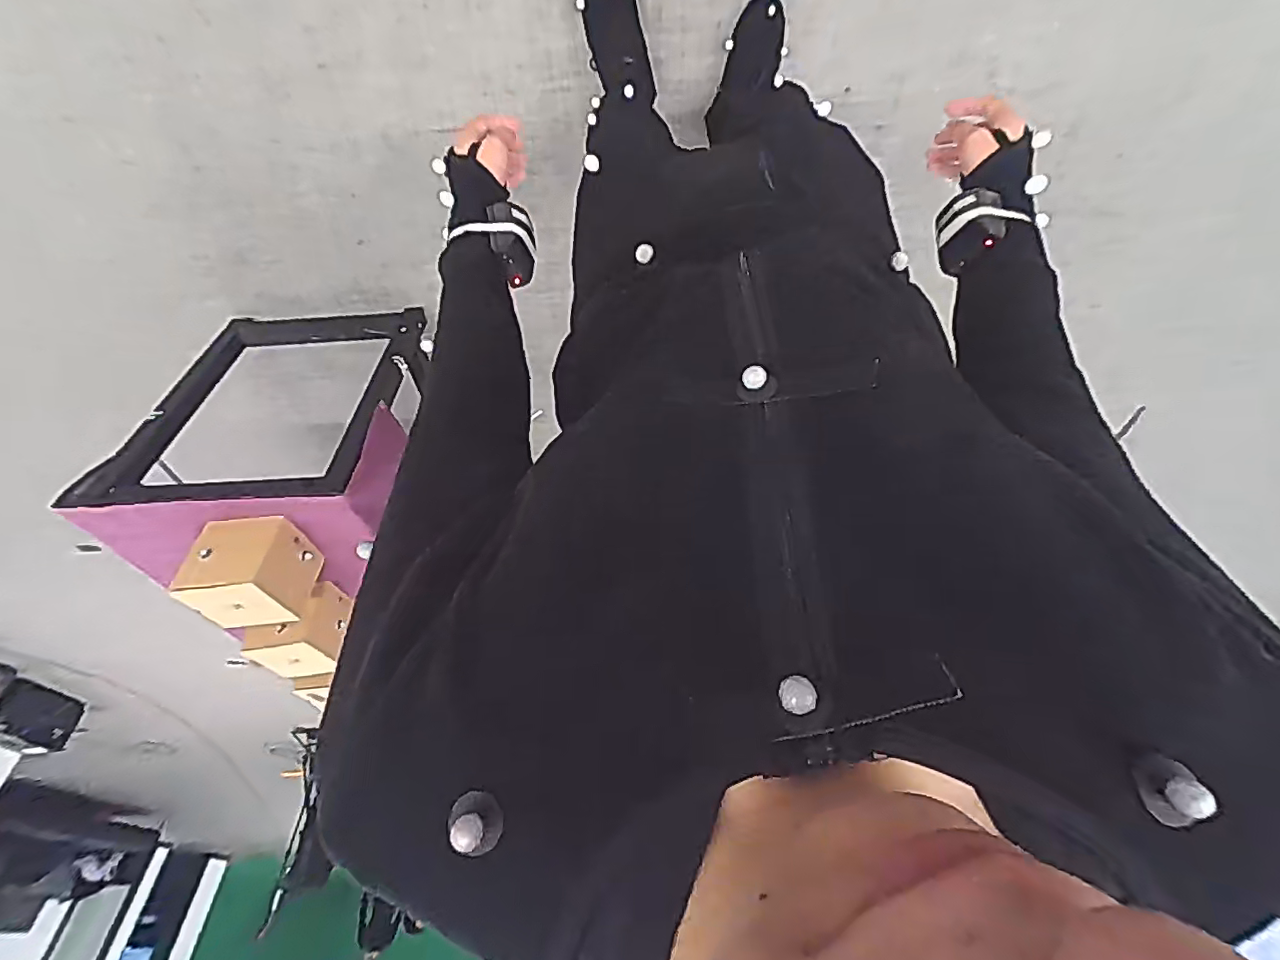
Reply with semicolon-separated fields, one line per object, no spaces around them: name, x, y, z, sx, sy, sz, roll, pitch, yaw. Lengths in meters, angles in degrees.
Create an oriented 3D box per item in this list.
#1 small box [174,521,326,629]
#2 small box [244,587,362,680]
small box;-0.824;0.204;1.165;0.179;0.176;0.168;-5;139;4
small box;-0.835;0.385;1.368;0.179;0.176;0.168;-9;138;8
